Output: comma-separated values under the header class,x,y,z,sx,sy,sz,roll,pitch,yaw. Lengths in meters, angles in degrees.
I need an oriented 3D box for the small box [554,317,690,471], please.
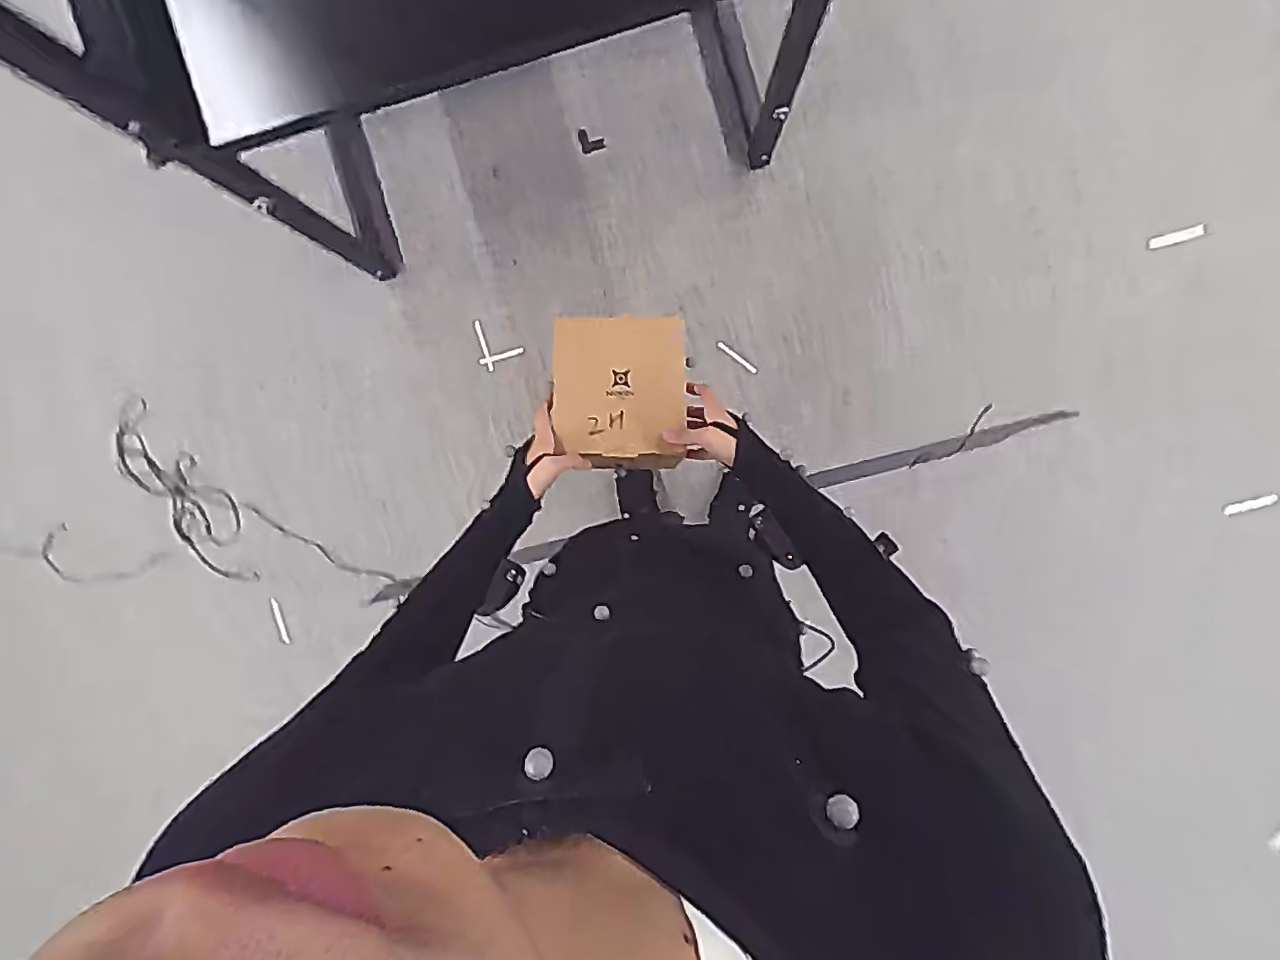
class,x,y,z,sx,sy,sz,roll,pitch,yaw
small box,-0.023,-0.108,0.745,0.168,0.176,0.179,1,86,-1
